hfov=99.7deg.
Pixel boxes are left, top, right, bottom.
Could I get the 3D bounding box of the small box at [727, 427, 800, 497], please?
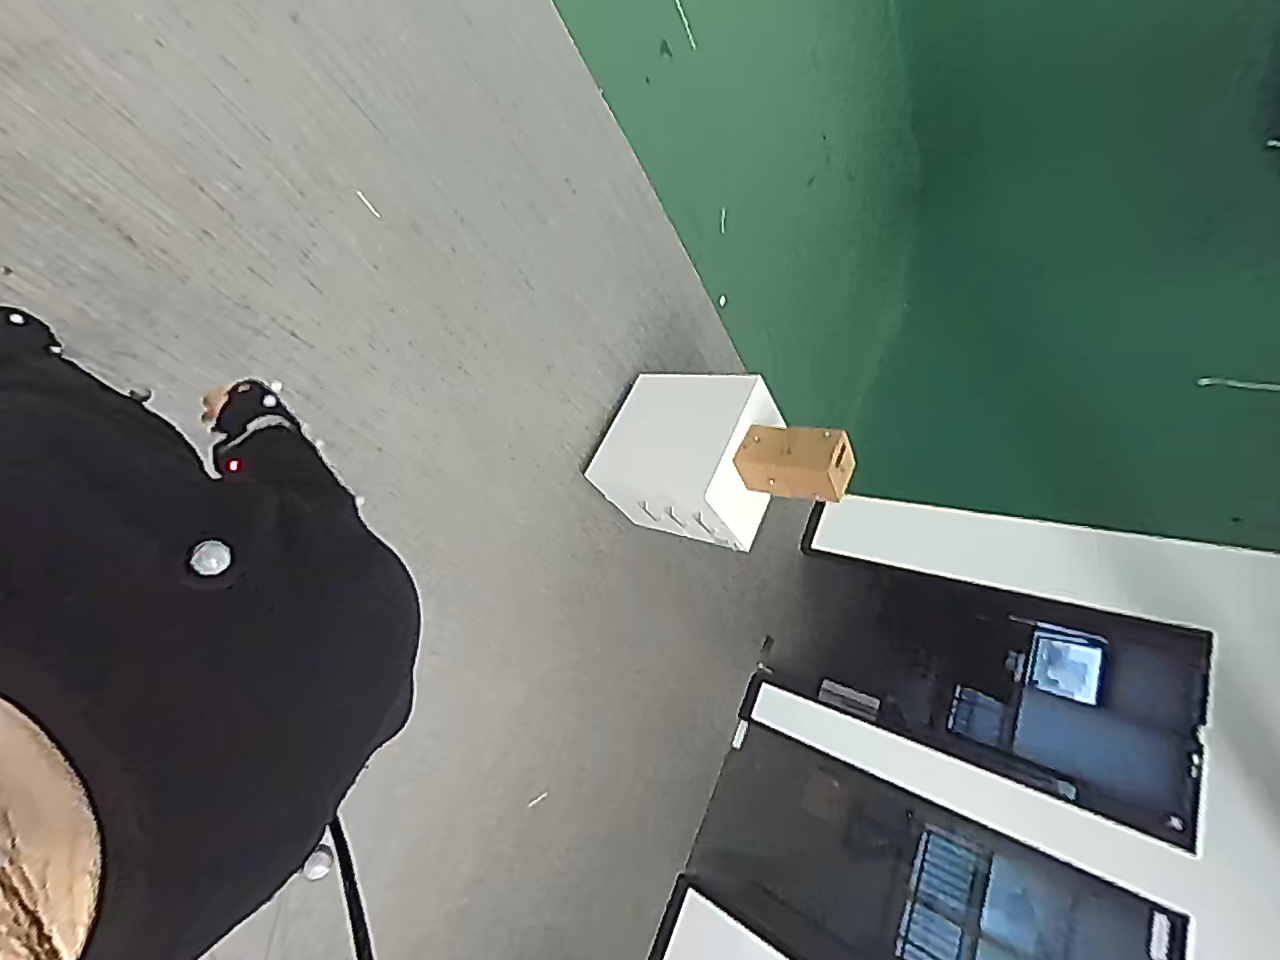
[{"bbox_3d":[0.423,-0.067,1.858,0.168,0.176,0.179,-59,137,-25],"label":"small box"}]
